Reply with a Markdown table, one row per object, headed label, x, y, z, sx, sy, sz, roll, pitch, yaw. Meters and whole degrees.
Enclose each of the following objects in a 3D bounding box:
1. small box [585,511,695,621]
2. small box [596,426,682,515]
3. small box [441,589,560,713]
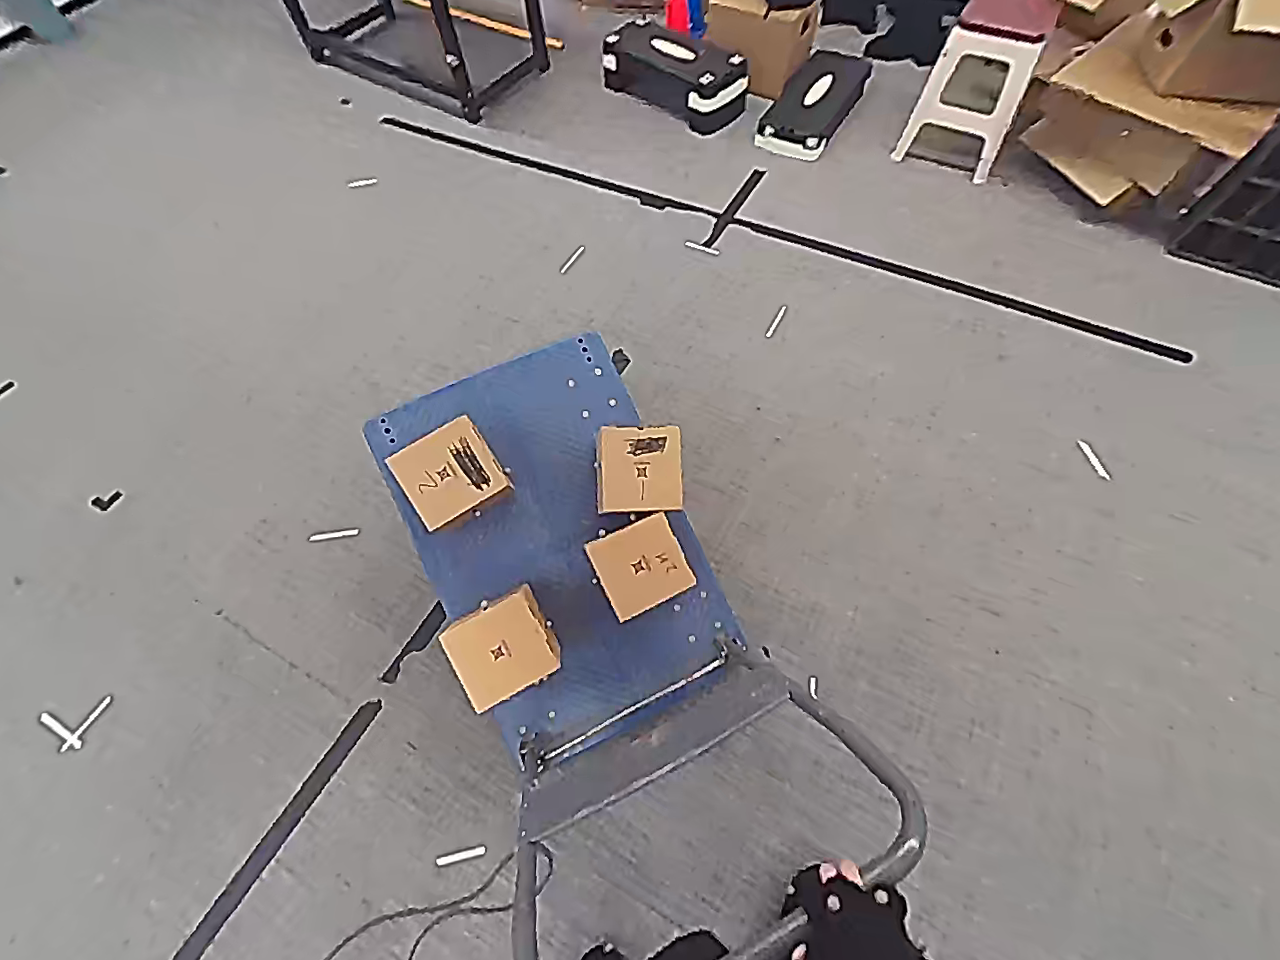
| label | x | y | z | sx | sy | sz | roll | pitch | yaw |
| --- | --- | --- | --- | --- | --- | --- | --- | --- | --- |
| small box | -0.007 | 0.179 | 1.157 | 0.179 | 0.176 | 0.168 | -26 | 89 | -9 |
| small box | -0.008 | -0.016 | 1.178 | 0.168 | 0.176 | 0.179 | -2 | 86 | -7 |
| small box | -0.274 | 0.338 | 1.105 | 0.179 | 0.176 | 0.168 | -29 | 89 | -11 |
